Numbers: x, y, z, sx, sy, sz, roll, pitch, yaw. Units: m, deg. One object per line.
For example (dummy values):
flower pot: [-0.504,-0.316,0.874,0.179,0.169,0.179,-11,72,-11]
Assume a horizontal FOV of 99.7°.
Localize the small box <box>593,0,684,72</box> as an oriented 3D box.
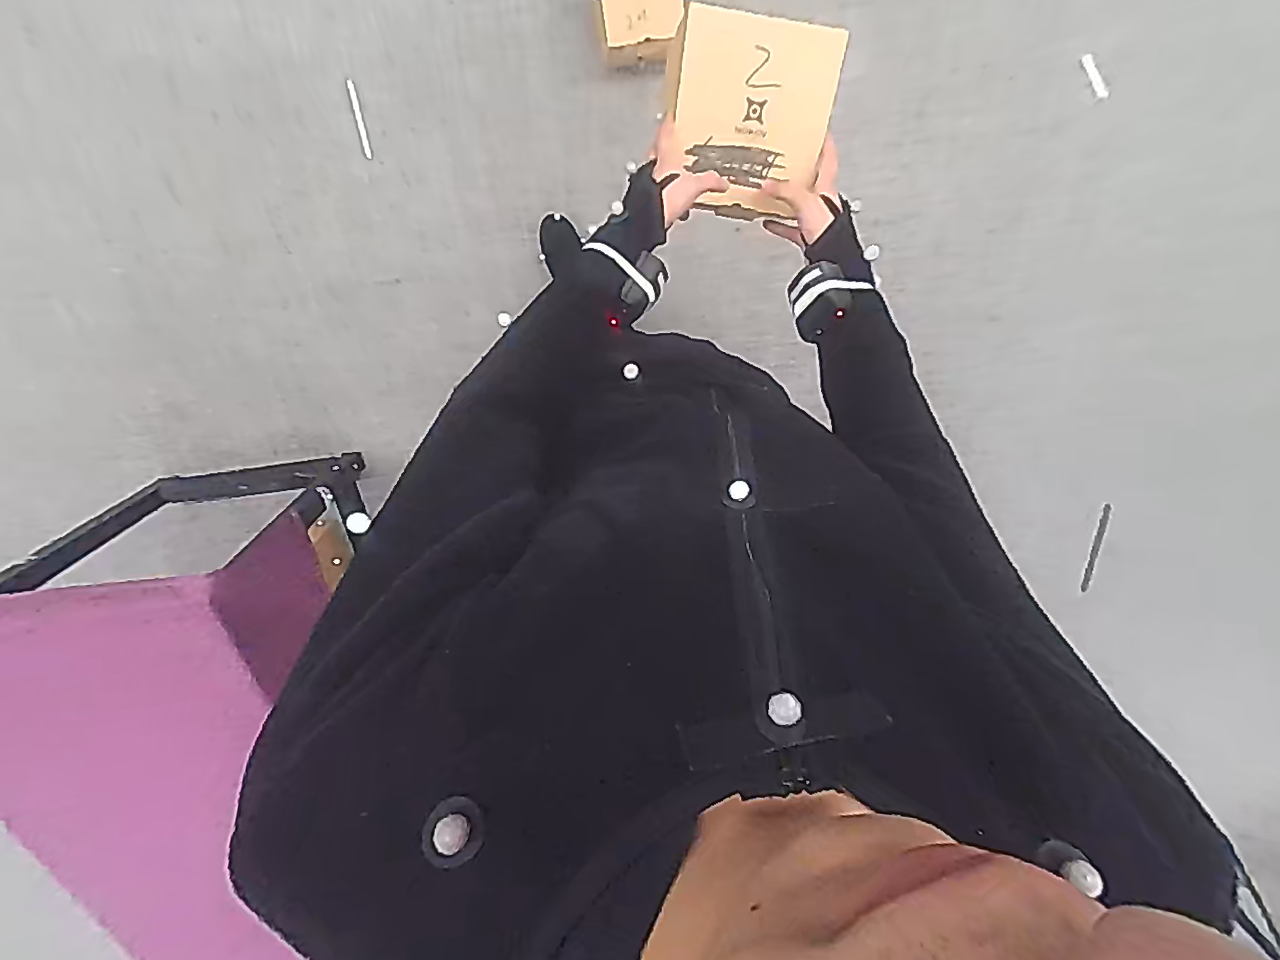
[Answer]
small box: [-0.010,-1.006,1.151,0.168,0.176,0.179,-10,116,-2]
